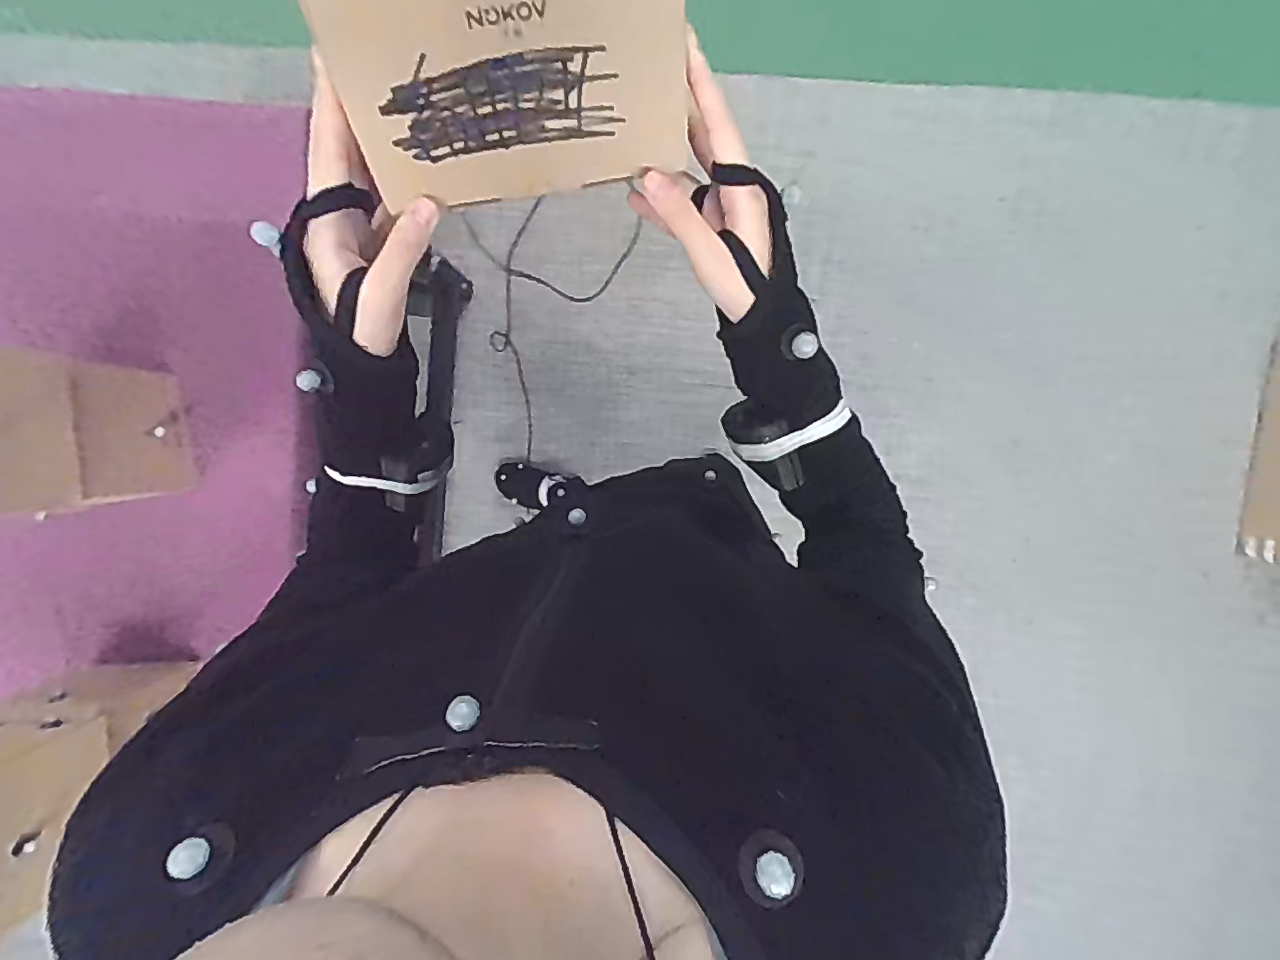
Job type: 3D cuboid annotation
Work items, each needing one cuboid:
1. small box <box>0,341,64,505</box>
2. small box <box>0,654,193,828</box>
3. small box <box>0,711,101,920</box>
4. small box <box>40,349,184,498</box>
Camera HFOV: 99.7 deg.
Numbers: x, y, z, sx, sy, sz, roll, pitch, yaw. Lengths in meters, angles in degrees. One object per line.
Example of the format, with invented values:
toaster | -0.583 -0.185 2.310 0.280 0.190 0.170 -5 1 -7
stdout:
small box | -0.733 -0.056 0.531 0.168 0.176 0.179 -3 94 1
small box | -0.743 0.342 0.723 0.179 0.176 0.168 -2 93 2
small box | -0.720 0.355 0.559 0.168 0.176 0.179 -2 93 1
small box | -0.750 -0.063 0.696 0.179 0.176 0.168 -7 94 2
